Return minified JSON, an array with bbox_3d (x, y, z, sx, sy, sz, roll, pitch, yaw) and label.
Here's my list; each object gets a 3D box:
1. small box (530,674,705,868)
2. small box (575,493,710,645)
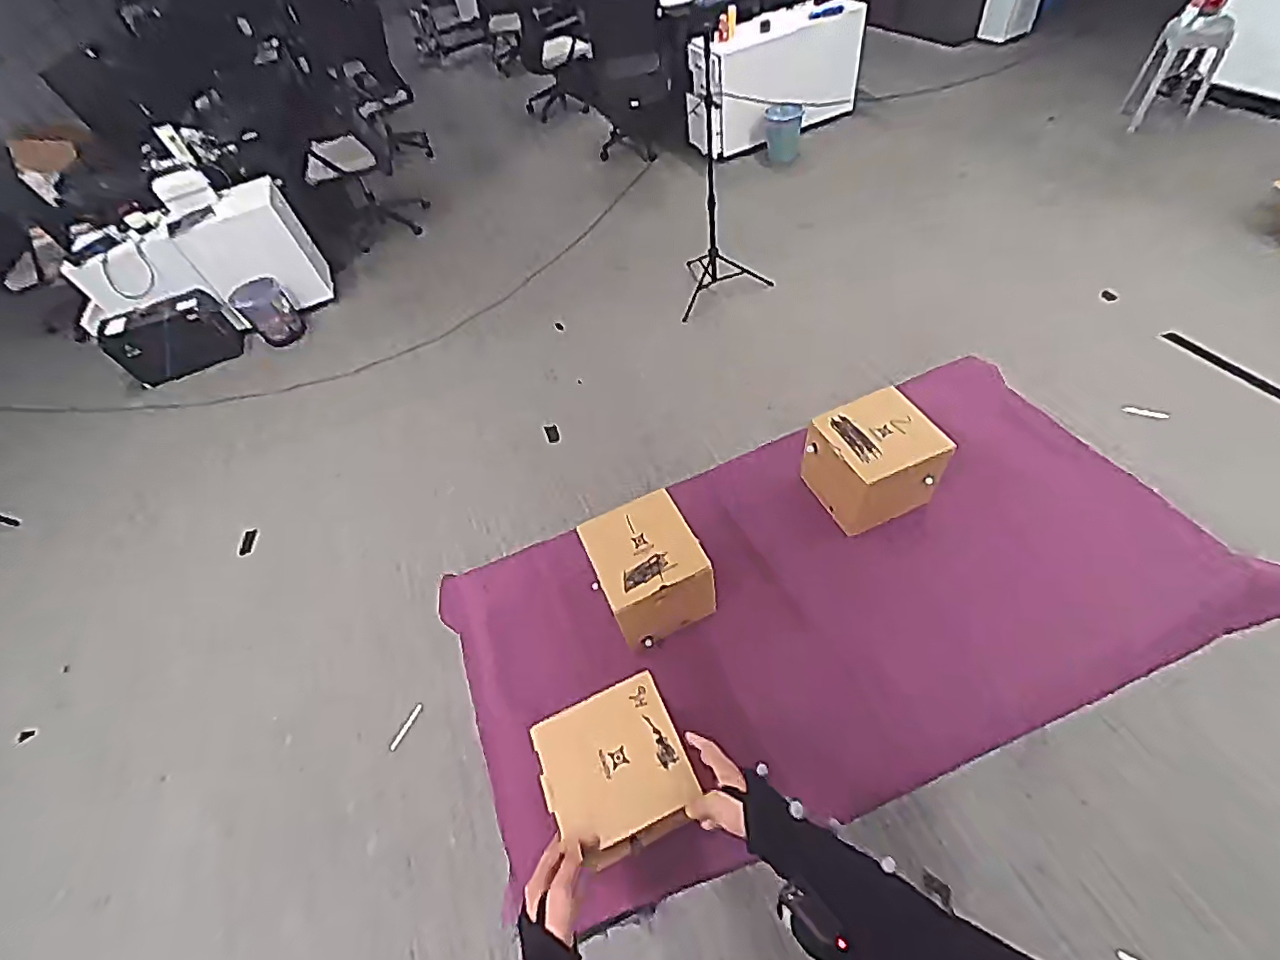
[{"bbox_3d":[-0.025,0.401,0.738,0.179,0.176,0.168,-24,52,-7],"label":"small box"},{"bbox_3d":[0.010,0.160,0.922,0.168,0.176,0.179,-24,52,-8],"label":"small box"}]
